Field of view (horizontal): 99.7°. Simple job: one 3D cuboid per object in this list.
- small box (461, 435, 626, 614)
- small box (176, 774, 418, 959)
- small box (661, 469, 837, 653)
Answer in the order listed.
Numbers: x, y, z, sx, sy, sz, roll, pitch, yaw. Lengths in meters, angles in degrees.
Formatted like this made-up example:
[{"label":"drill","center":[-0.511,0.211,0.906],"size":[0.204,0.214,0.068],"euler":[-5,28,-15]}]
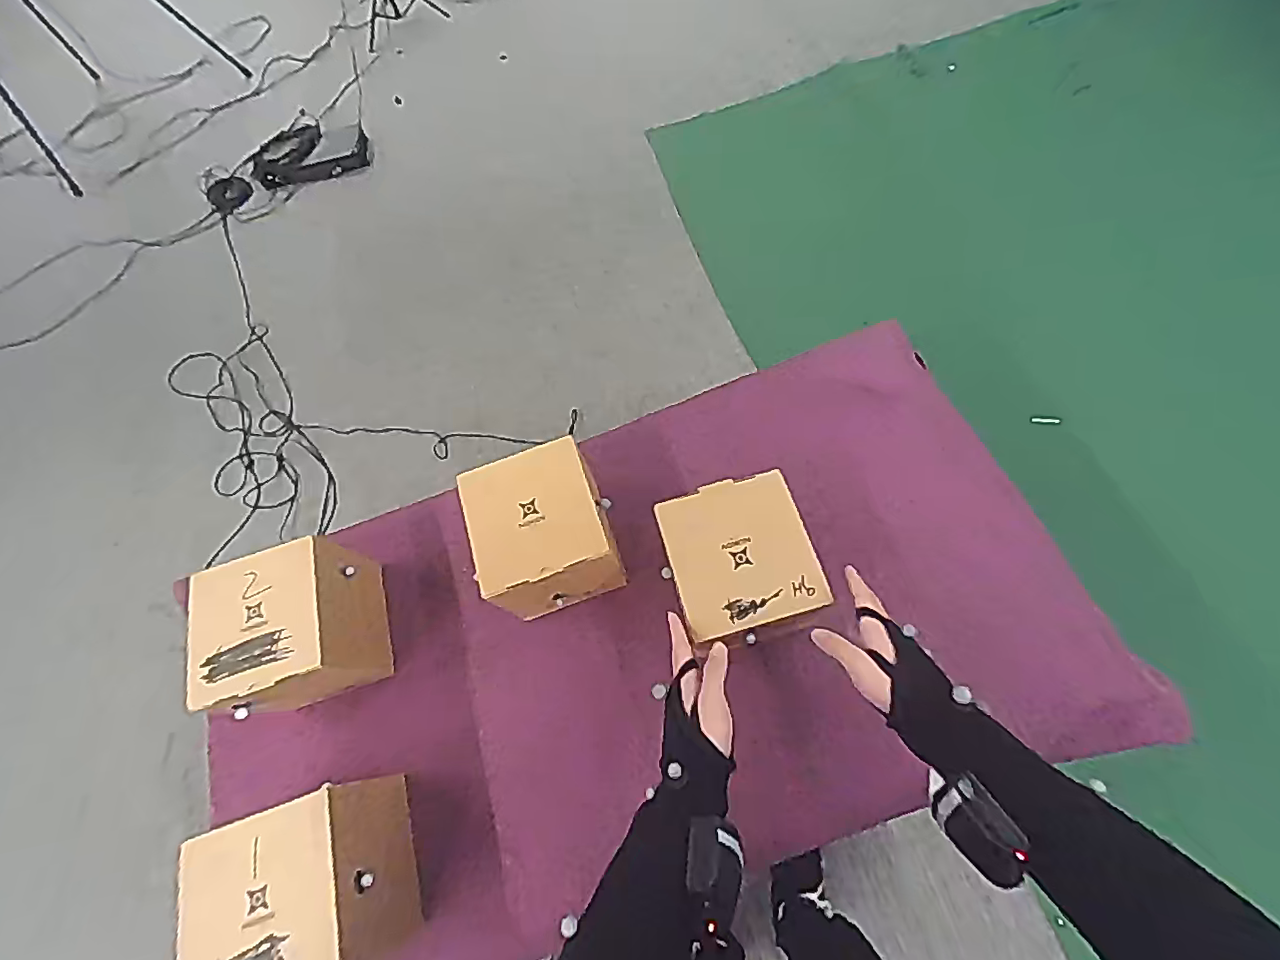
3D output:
[{"label":"small box","center":[-0.127,0.069,0.757],"size":[0.168,0.176,0.179],"euler":[-20,67,-2]},{"label":"small box","center":[-0.374,0.458,0.614],"size":[0.168,0.176,0.179],"euler":[-19,65,-2]},{"label":"small box","center":[0.130,0.113,0.708],"size":[0.168,0.176,0.179],"euler":[-16,67,0]}]
